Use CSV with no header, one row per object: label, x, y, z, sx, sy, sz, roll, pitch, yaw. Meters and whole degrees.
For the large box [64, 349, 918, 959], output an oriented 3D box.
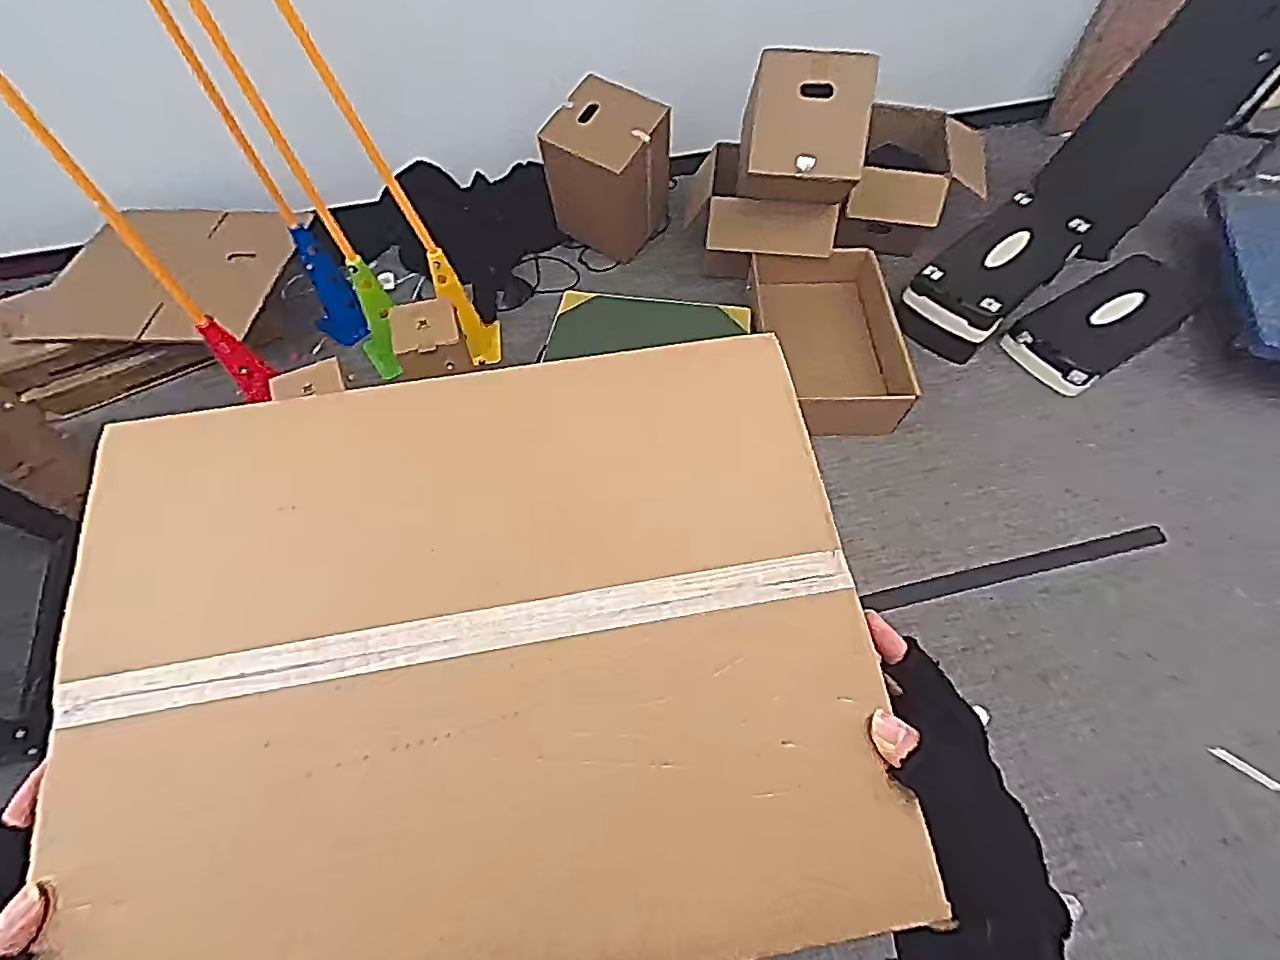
large box,-0.086,0.136,0.436,0.408,0.320,0.320,-9,71,-4
